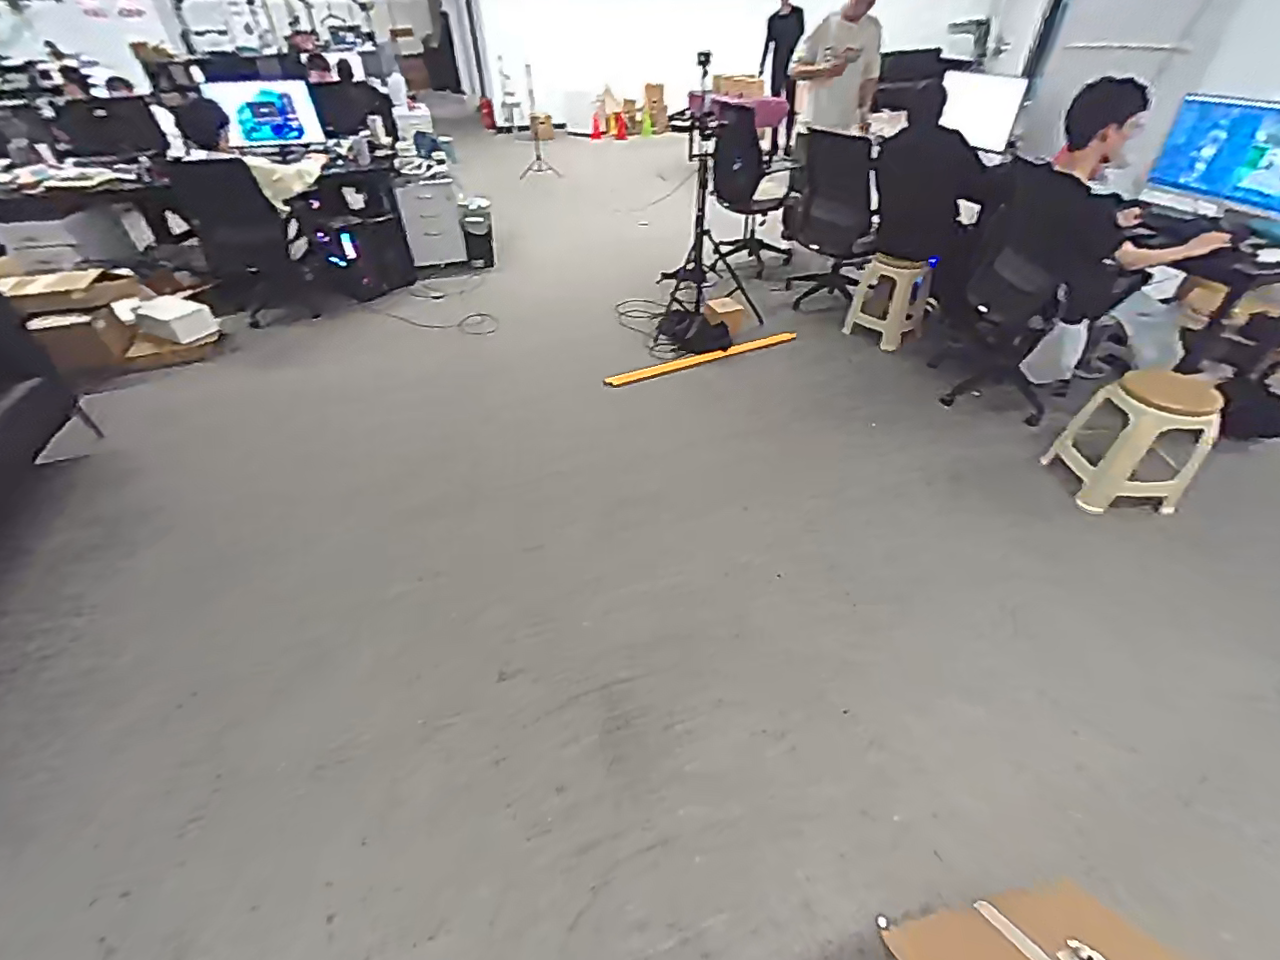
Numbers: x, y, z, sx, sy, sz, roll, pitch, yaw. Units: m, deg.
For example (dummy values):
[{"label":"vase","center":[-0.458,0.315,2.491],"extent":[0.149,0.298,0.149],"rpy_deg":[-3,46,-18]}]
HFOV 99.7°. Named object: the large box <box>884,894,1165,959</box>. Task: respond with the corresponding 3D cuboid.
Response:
[{"label":"large box","center":[0.545,0.766,0.582],"extent":[0.320,0.408,0.320],"rpy_deg":[-9,83,-5]}]
